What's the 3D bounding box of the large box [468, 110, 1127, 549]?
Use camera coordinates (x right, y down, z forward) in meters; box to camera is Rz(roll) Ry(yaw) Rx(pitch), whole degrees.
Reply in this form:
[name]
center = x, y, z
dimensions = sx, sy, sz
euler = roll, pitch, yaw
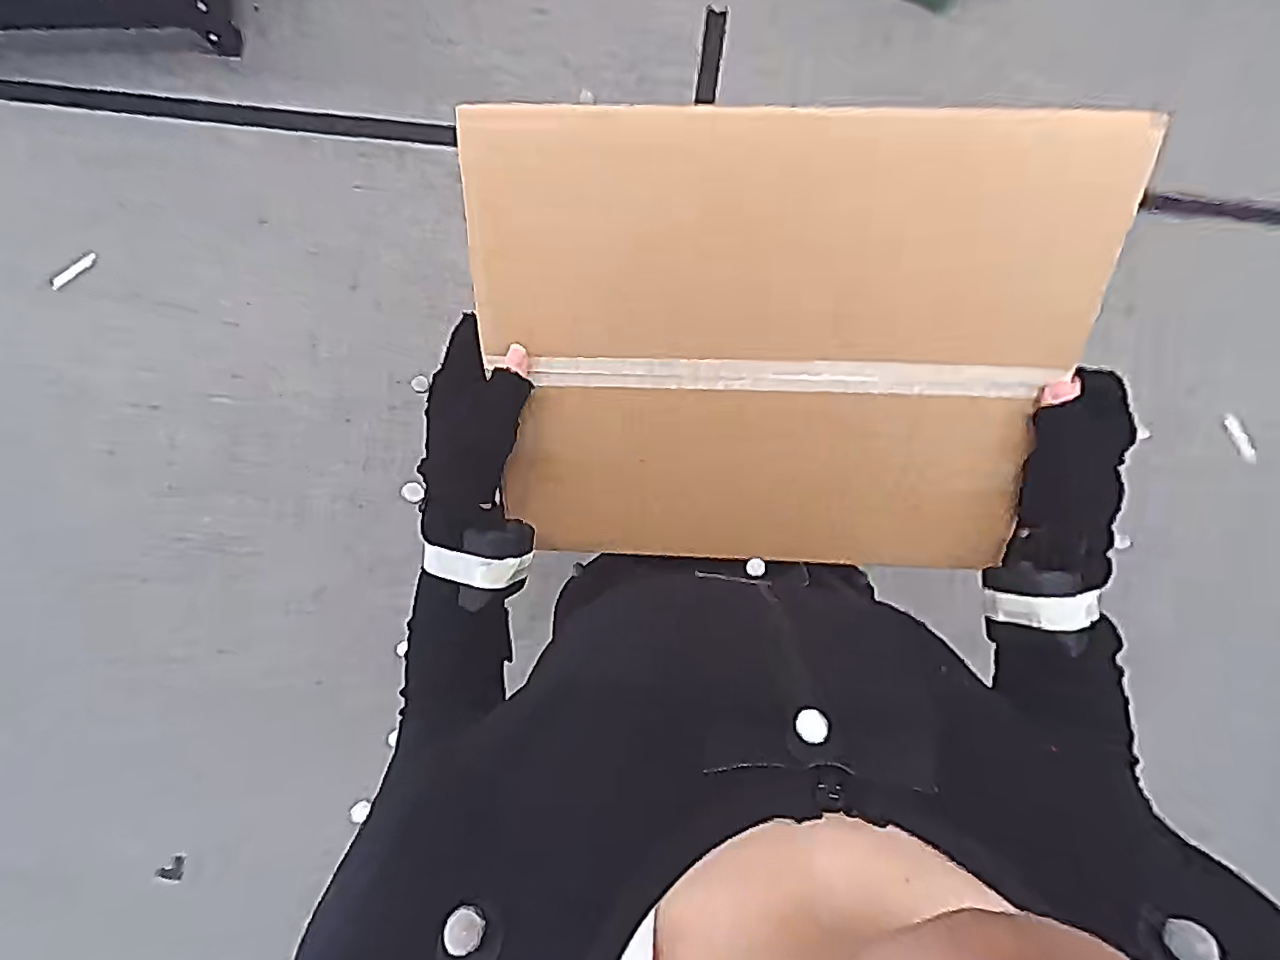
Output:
[large box]
center = 0.095, -0.149, 0.525
dimensions = 0.408, 0.320, 0.320
euler = 2, 118, 2
